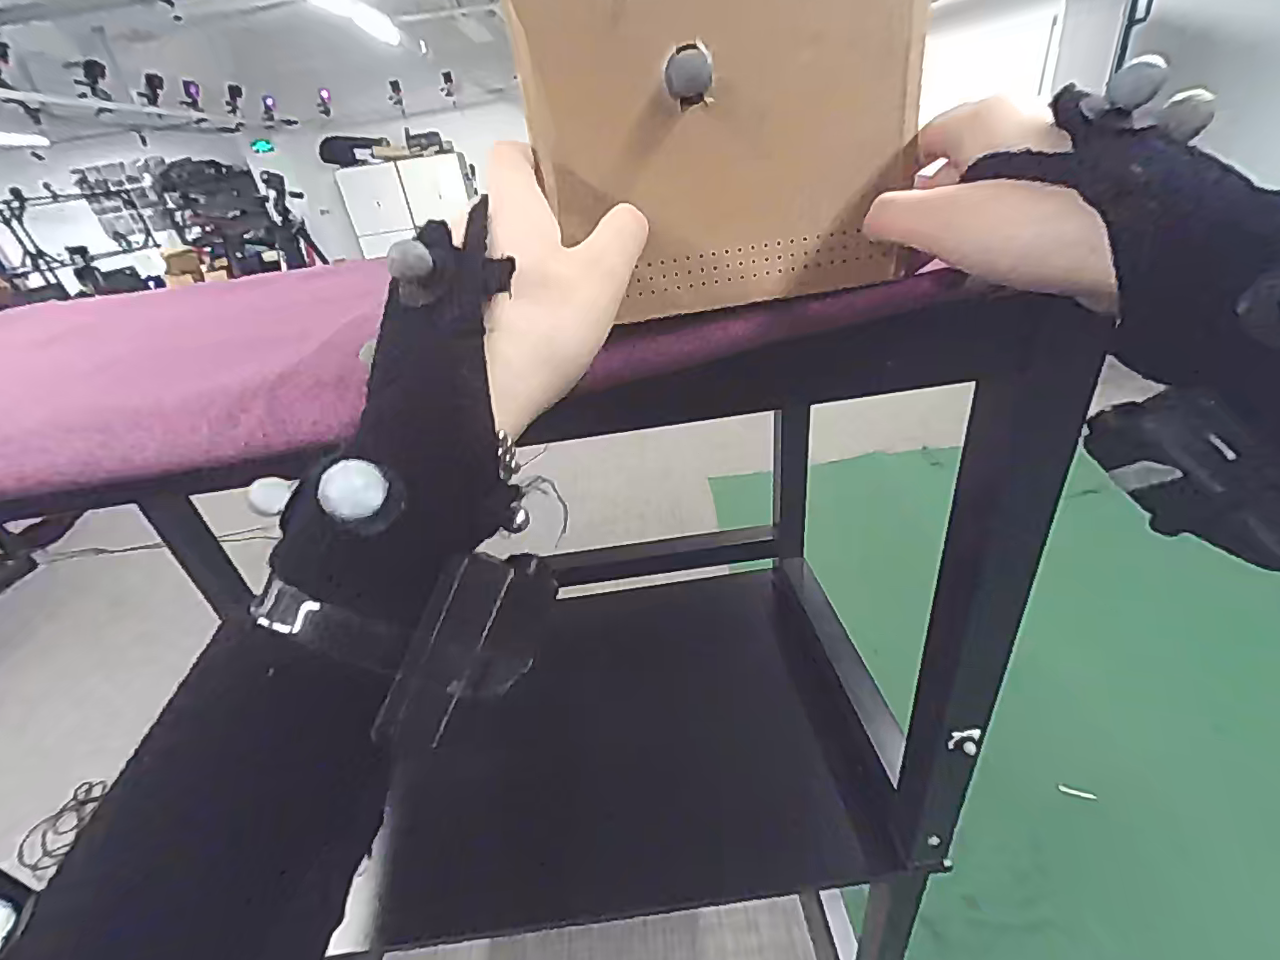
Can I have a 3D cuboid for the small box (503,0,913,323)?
[{"bbox_3d":[0.034,-0.195,0.302,0.179,0.176,0.168,-9,28,1],"label":"small box"}]
